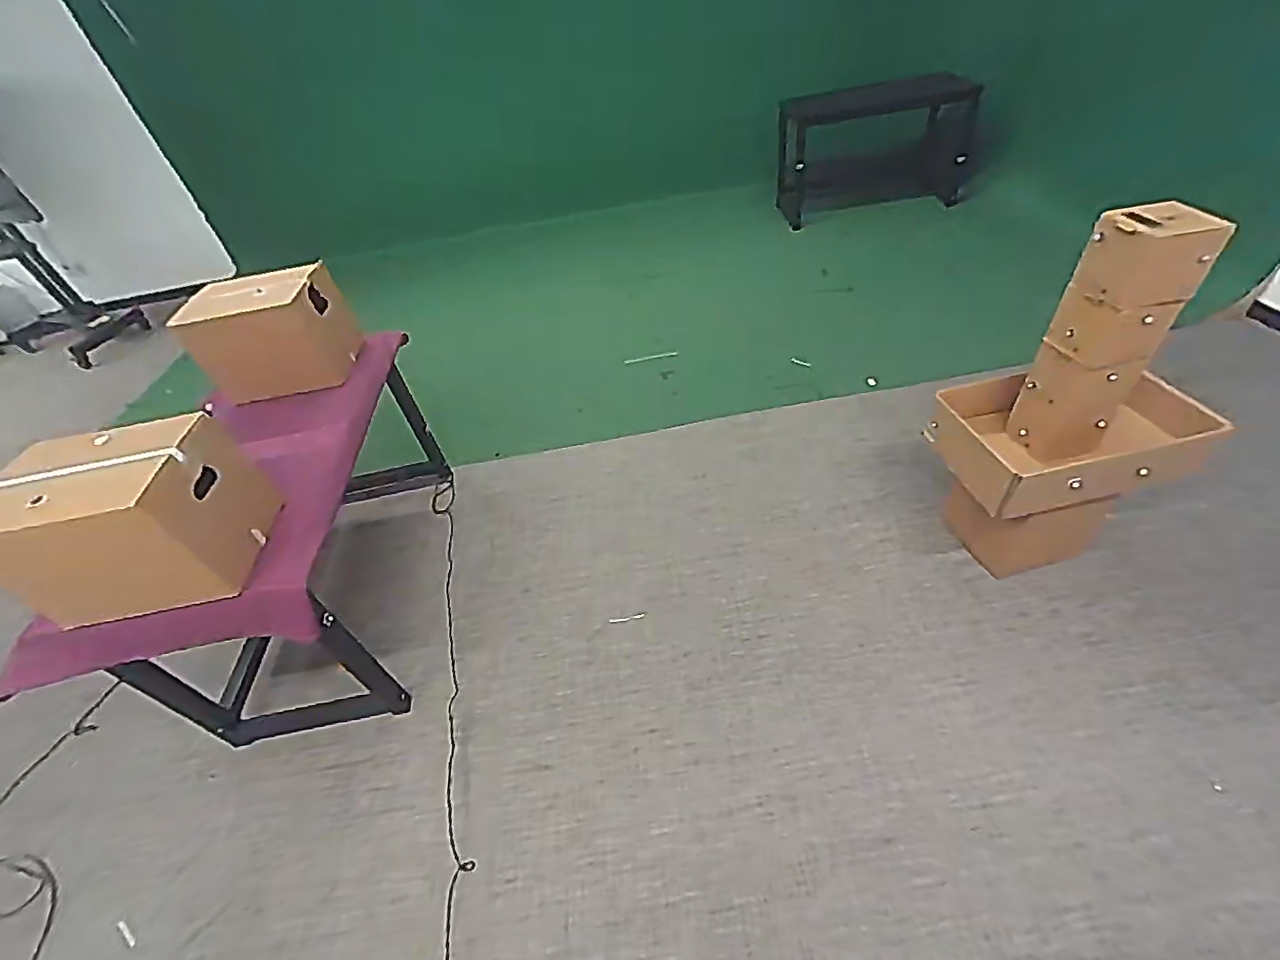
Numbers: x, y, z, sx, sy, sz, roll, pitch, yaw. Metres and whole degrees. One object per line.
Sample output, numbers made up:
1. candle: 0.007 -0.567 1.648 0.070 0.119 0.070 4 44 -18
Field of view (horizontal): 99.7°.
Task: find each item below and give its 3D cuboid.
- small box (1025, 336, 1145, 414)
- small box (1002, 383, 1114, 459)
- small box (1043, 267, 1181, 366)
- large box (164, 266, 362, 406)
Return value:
1. small box: 1.214 -0.303 1.499 0.179 0.176 0.168 -12 44 -5
2. small box: 1.232 -0.186 1.611 0.179 0.176 0.168 -11 43 -3
3. small box: 1.193 -0.416 1.384 0.179 0.176 0.168 -14 44 -4
4. large box: -1.251 -0.491 1.847 0.408 0.320 0.320 -10 45 0
